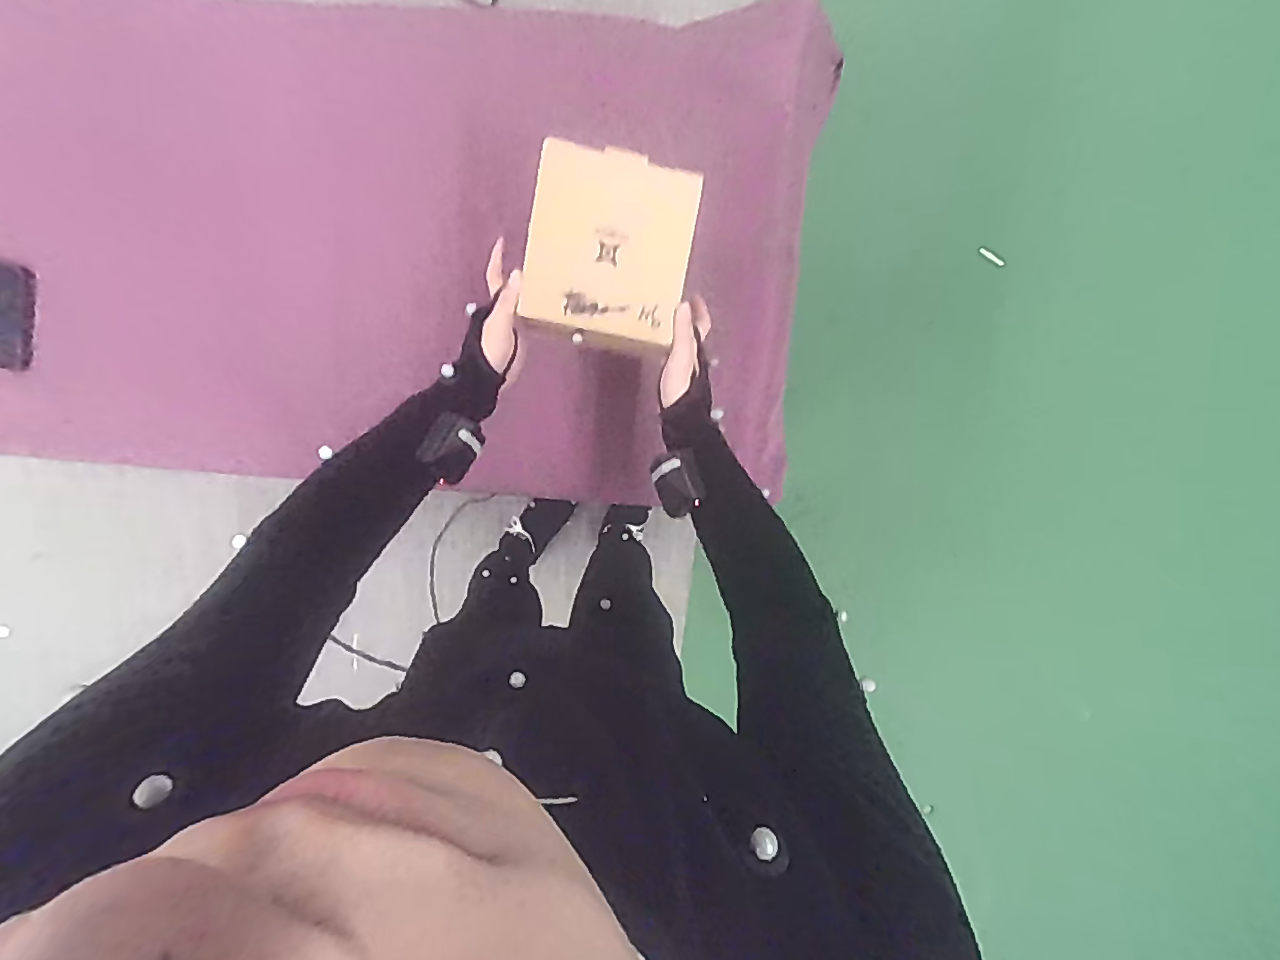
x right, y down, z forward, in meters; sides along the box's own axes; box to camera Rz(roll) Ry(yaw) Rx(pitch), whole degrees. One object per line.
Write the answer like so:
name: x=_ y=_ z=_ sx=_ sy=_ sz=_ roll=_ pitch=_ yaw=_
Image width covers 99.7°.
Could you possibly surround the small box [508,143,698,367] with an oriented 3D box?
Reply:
small box: x=-0.045 y=-0.238 z=0.620 sx=0.168 sy=0.176 sz=0.179 roll=11 pitch=95 yaw=-6
